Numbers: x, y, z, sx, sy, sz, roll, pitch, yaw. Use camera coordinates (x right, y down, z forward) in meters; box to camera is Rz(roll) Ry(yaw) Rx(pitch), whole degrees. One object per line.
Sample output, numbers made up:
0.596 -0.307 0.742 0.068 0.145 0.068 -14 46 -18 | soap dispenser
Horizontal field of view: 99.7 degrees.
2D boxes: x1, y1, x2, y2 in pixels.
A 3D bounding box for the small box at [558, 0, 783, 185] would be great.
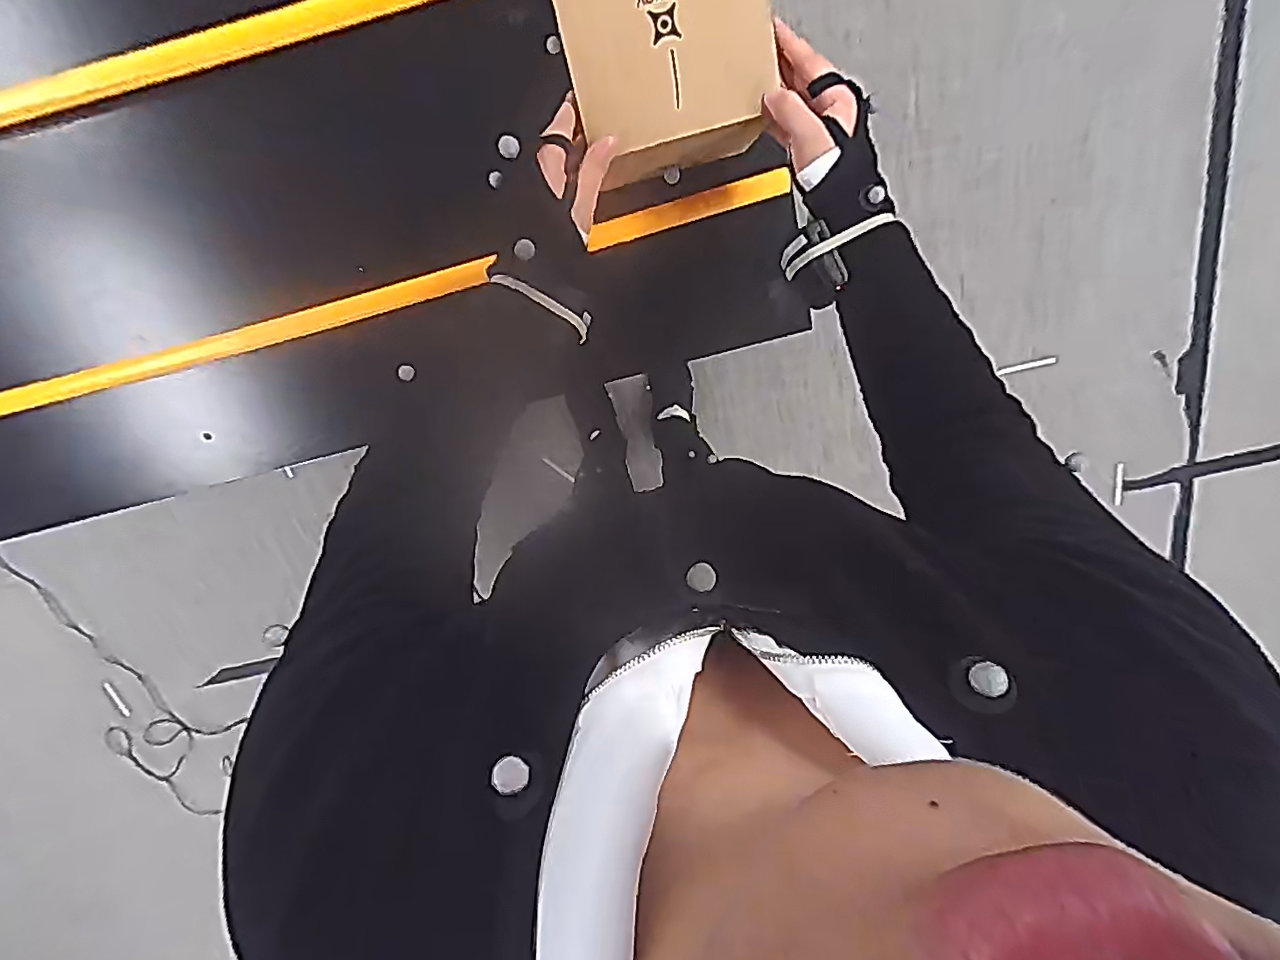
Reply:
0.019 -0.396 0.496 0.168 0.176 0.179 -13 111 4 | small box
